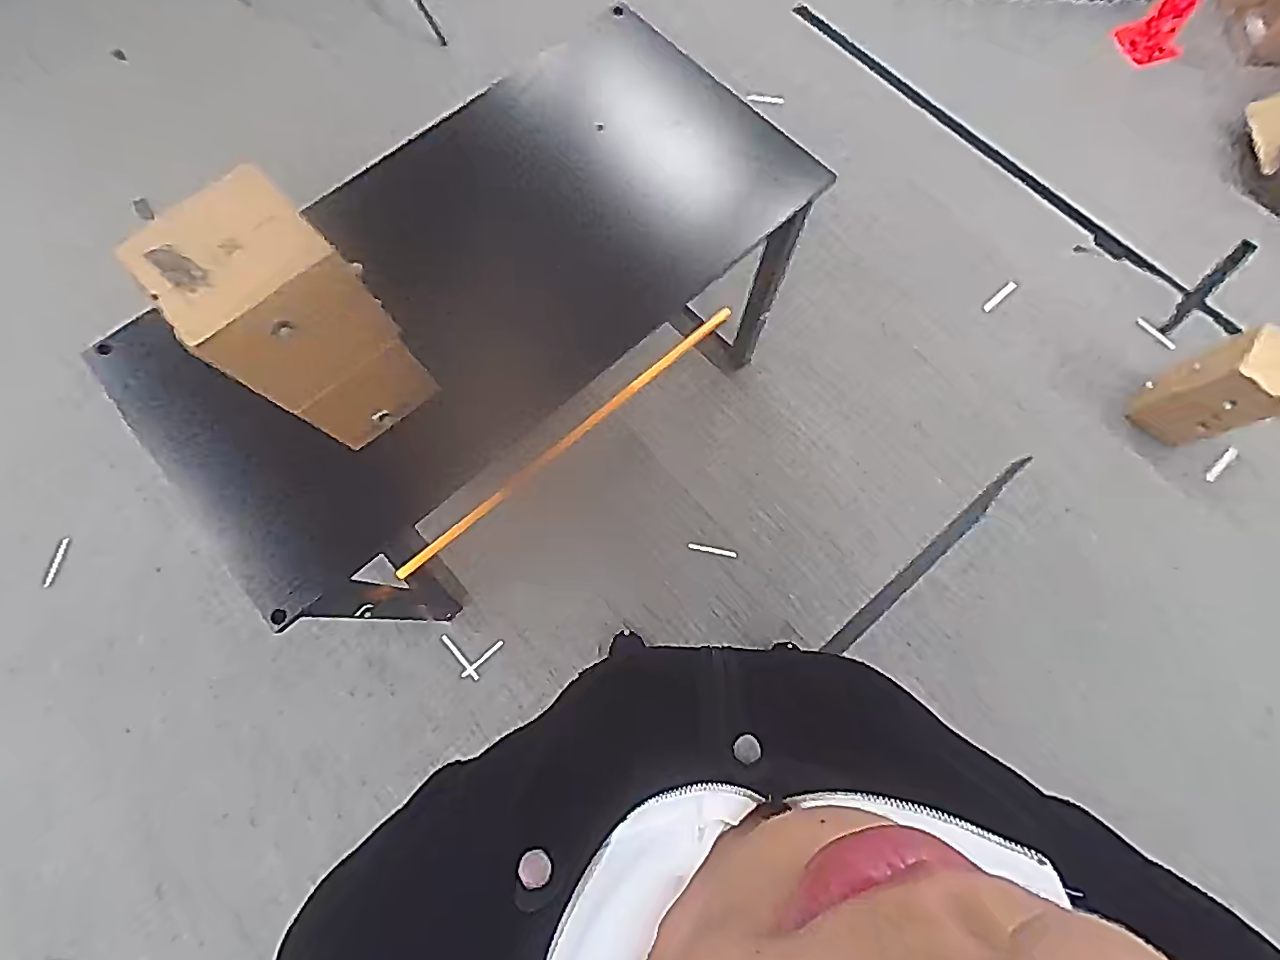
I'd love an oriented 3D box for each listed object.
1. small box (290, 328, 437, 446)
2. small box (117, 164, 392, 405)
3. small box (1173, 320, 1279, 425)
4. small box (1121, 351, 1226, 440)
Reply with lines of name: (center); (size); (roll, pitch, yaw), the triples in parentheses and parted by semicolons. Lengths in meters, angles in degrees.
small box: (-0.444, -0.180, 0.813); (0.168, 0.176, 0.179); (-42, 79, -9)
small box: (-0.444, -0.222, 0.654); (0.179, 0.176, 0.168); (-42, 78, -10)
small box: (1.579, -0.274, 1.421); (0.168, 0.176, 0.179); (40, 79, 10)
small box: (1.586, -0.236, 1.580); (0.179, 0.176, 0.168); (41, 79, 10)
